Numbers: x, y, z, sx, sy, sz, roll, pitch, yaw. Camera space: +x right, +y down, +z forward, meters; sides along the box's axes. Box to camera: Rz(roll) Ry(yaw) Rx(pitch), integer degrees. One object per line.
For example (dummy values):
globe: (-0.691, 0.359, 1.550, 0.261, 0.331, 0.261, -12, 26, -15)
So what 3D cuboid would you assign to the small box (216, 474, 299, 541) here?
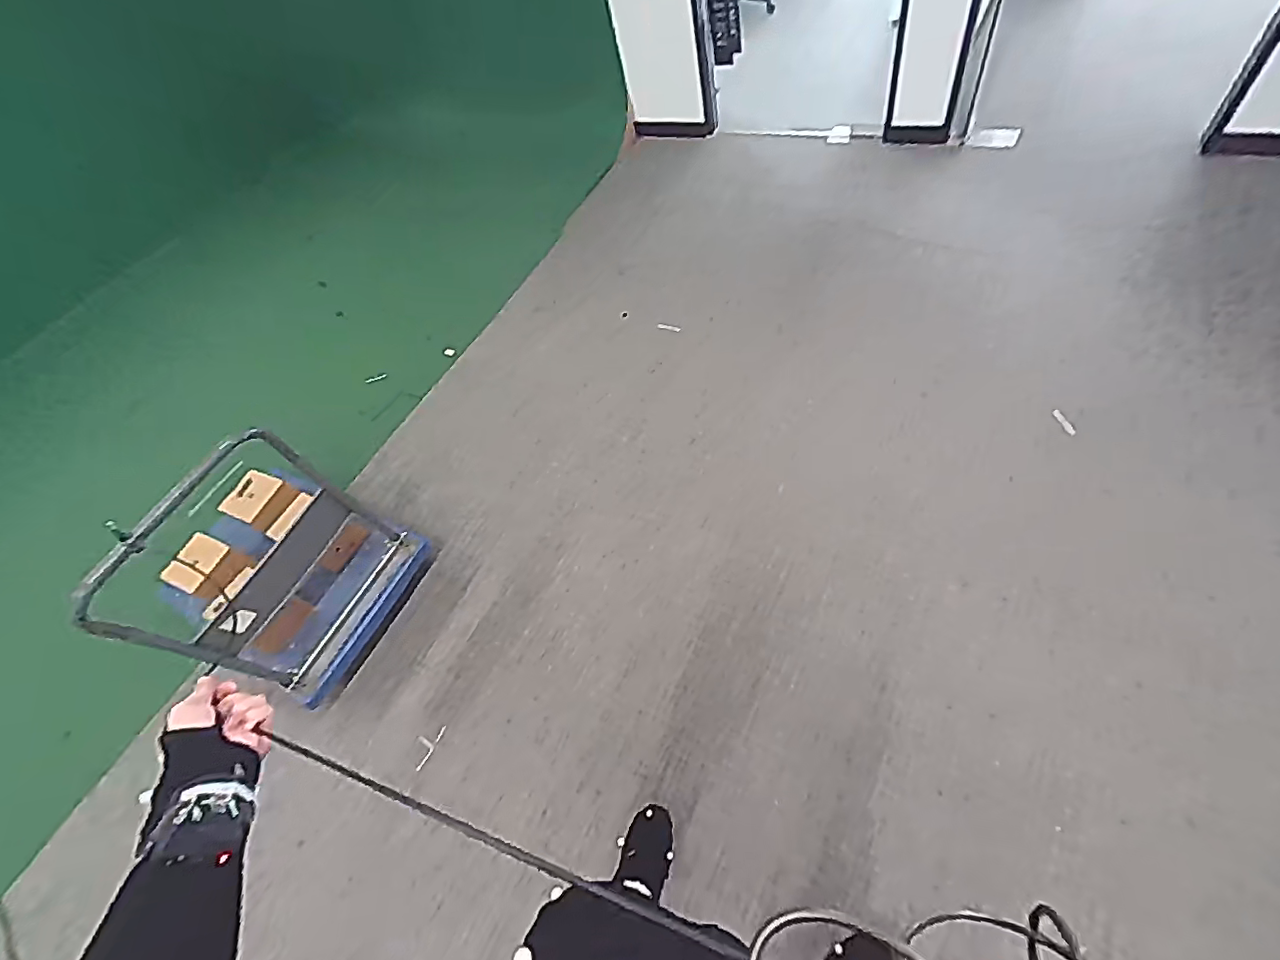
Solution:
small box: (-1.274, 0.106, 1.849, 0.179, 0.176, 0.168, 16, 64, 22)

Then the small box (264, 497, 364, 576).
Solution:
small box: (-1.041, 0.186, 1.738, 0.179, 0.176, 0.168, 20, 65, 24)

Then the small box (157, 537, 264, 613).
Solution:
small box: (-1.374, 0.311, 1.742, 0.179, 0.176, 0.168, 15, 62, 23)
